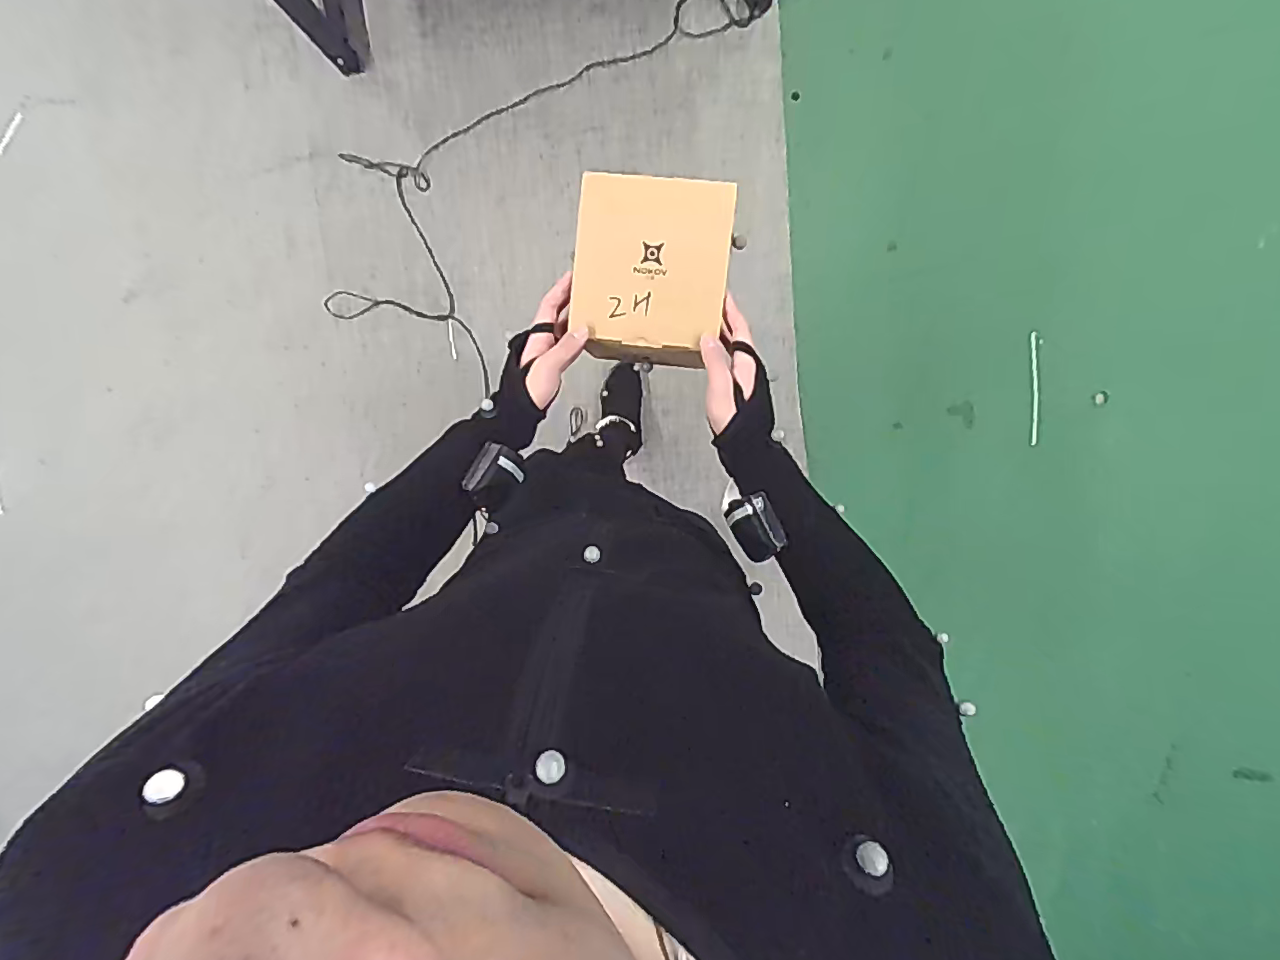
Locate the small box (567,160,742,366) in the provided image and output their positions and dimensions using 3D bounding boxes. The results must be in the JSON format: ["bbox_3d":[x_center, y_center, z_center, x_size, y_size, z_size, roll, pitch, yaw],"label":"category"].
[{"bbox_3d":[0.019,-0.242,0.640,0.168,0.176,0.179,7,96,4],"label":"small box"}]
